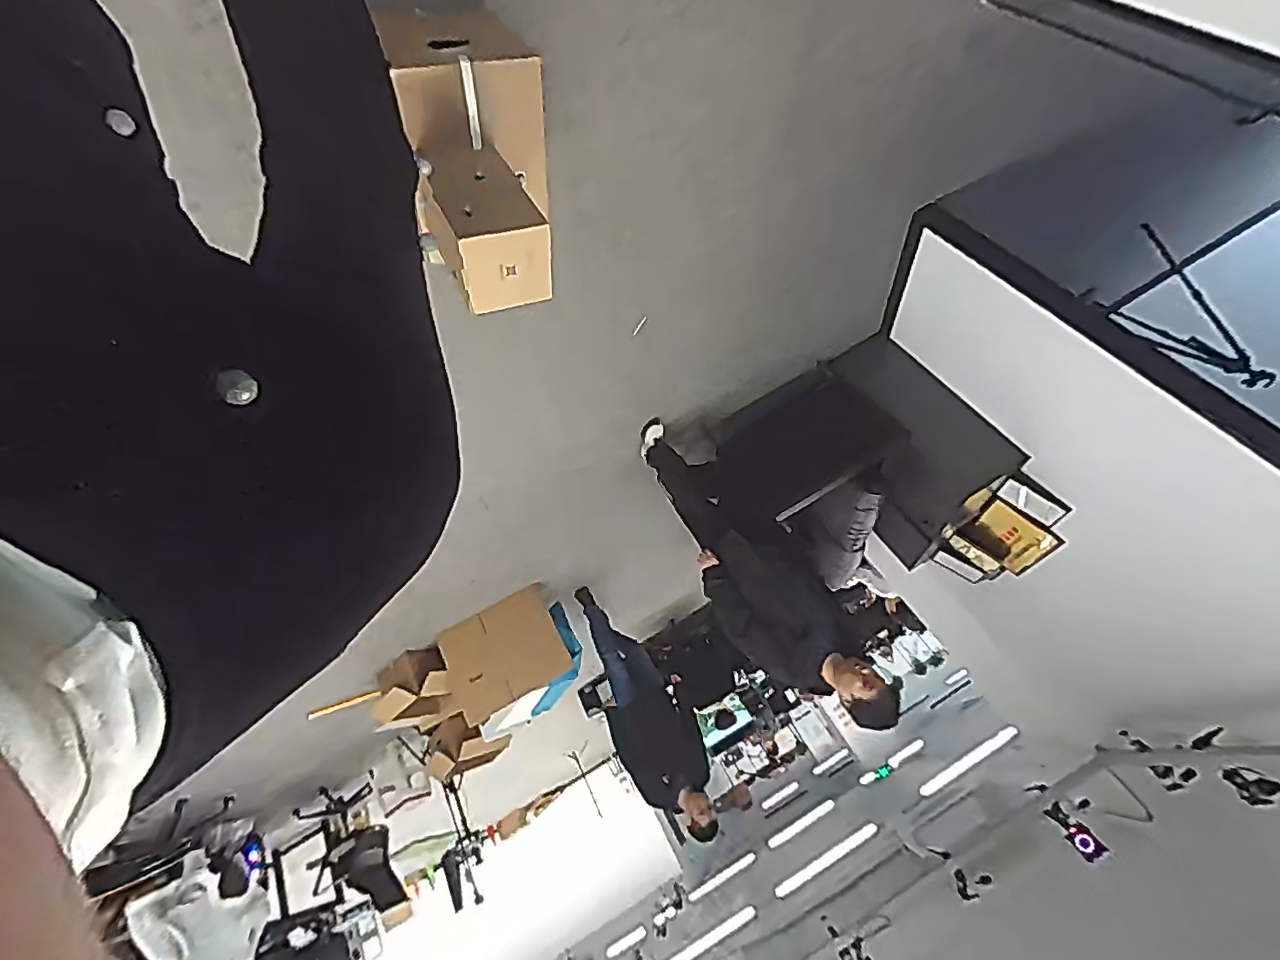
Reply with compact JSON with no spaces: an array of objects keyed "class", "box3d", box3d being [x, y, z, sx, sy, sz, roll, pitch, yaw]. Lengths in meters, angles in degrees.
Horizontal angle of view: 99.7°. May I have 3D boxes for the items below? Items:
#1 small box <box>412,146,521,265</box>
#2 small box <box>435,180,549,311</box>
[{"class":"small box","box3d":[-0.365,-0.591,1.158,0.179,0.176,0.168,-19,149,-22]},{"class":"small box","box3d":[-0.295,-0.469,1.076,0.179,0.176,0.168,-21,150,-21]}]
